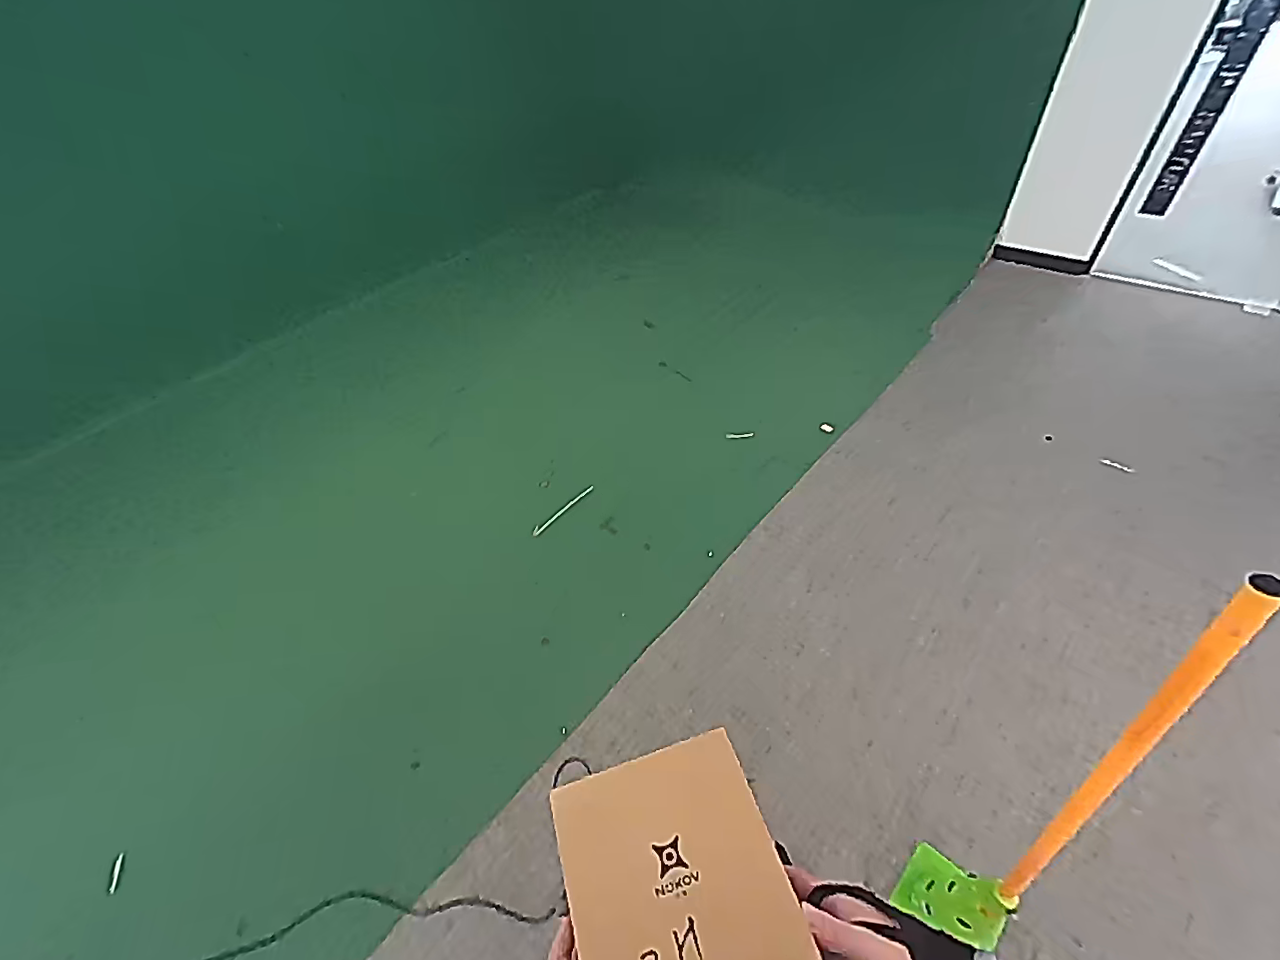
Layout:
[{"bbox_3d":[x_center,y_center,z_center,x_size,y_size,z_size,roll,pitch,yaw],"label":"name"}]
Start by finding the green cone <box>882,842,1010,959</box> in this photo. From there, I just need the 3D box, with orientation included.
[{"bbox_3d":[0.660,0.860,1.098,0.200,0.368,0.202,32,60,32],"label":"green cone"}]
